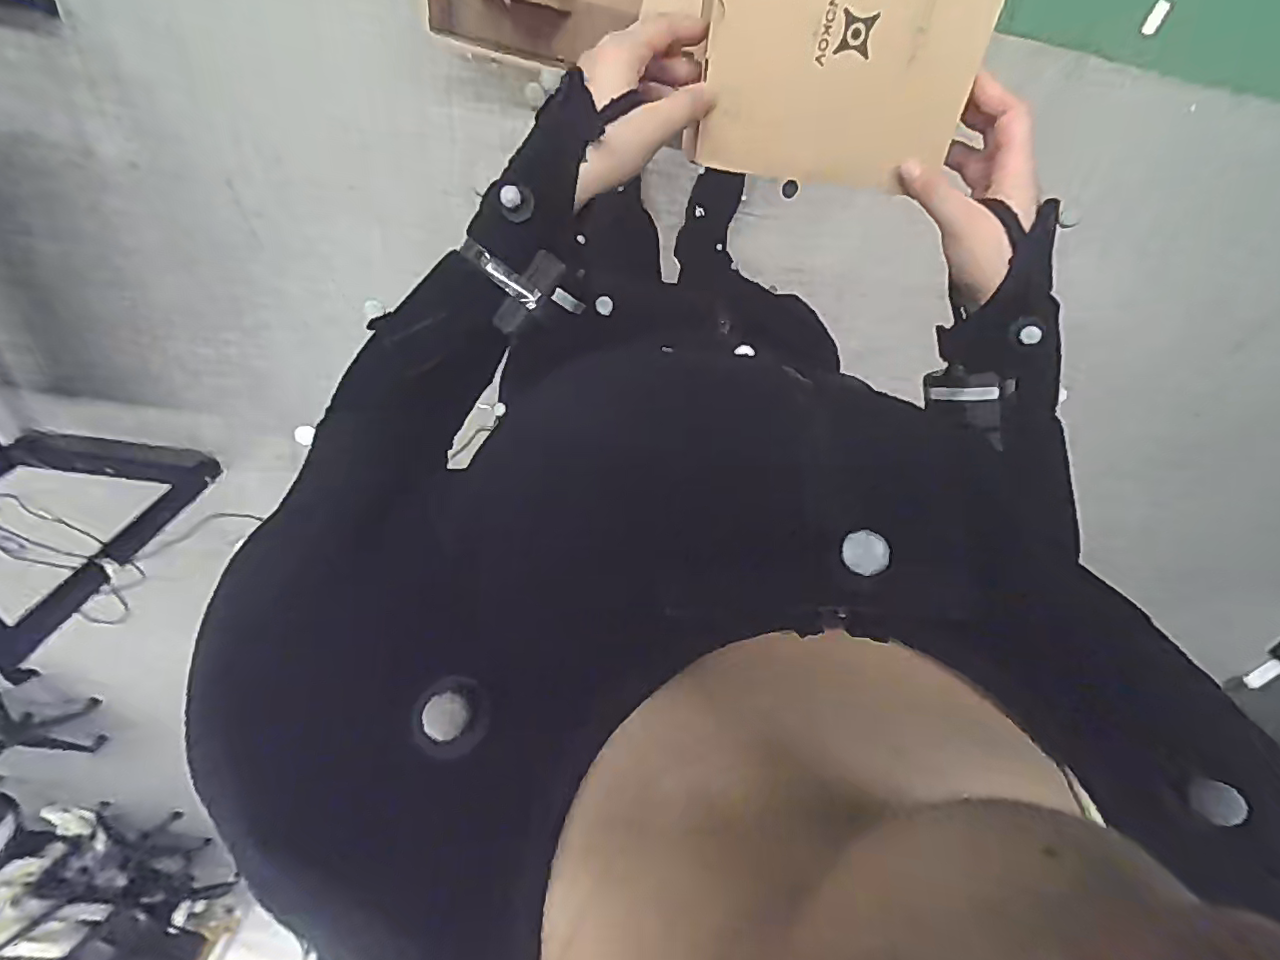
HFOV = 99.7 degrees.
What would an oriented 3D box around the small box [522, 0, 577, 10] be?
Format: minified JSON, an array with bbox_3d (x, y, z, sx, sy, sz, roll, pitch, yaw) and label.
[{"bbox_3d":[-0.189,-0.888,0.874,0.179,0.176,0.168,8,127,-7],"label":"small box"}]

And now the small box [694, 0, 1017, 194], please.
[{"bbox_3d":[0.139,-0.320,0.399,0.179,0.176,0.168,5,125,-2],"label":"small box"}]

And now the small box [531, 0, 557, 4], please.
[{"bbox_3d":[-0.189,-0.787,0.745,0.179,0.176,0.168,10,126,-7],"label":"small box"}]

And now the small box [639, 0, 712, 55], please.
[{"bbox_3d":[0.100,-0.838,0.912,0.168,0.176,0.179,11,127,-7],"label":"small box"}]
